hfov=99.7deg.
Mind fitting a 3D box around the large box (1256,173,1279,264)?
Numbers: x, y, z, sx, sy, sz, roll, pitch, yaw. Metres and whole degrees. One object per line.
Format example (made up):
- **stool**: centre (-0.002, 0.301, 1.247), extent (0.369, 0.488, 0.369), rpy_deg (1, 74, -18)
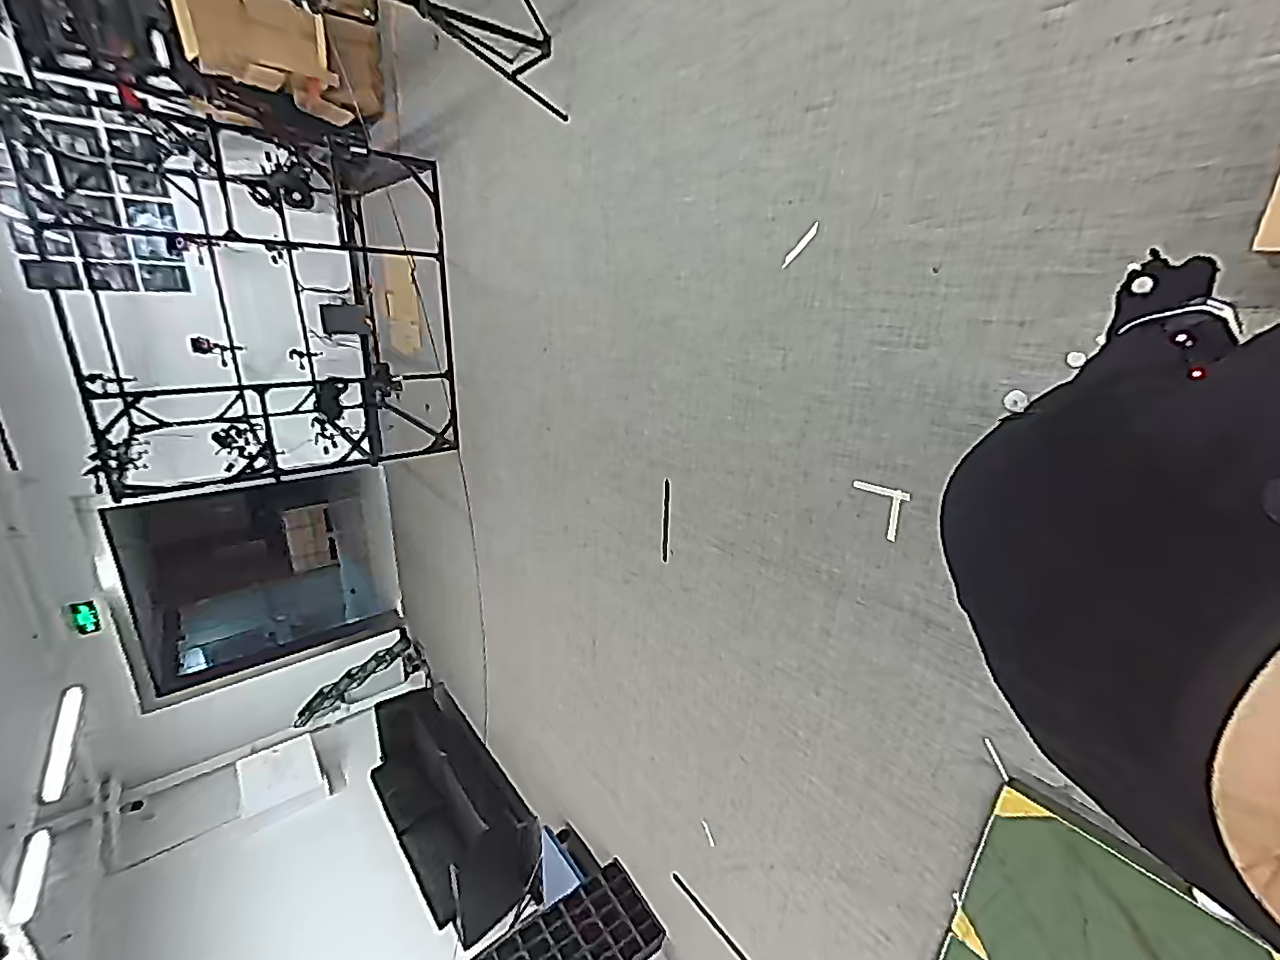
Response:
- **large box**: centre (1.139, -0.456, 0.690), extent (0.408, 0.320, 0.320), rpy_deg (24, 119, 45)
